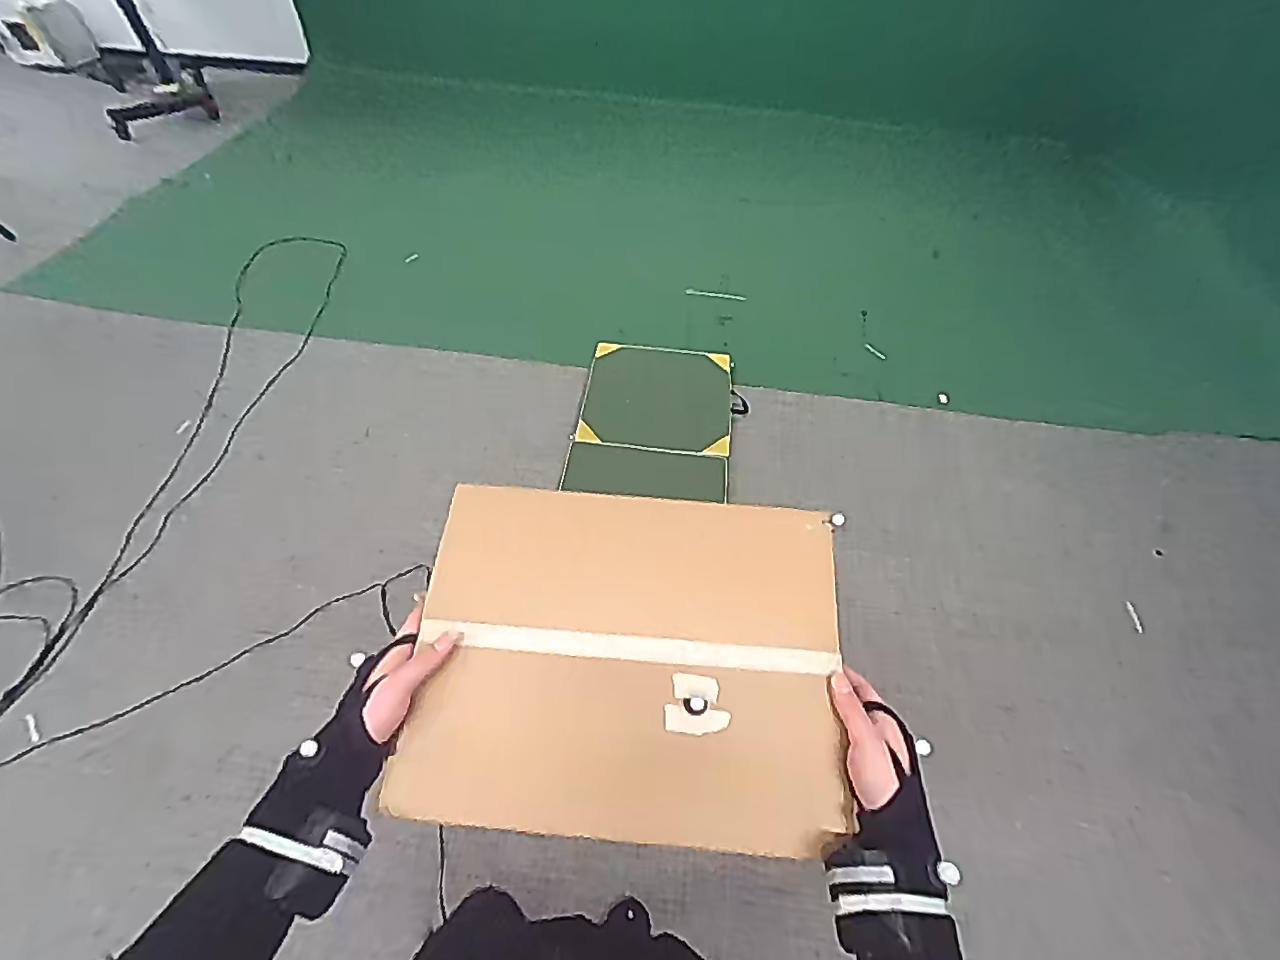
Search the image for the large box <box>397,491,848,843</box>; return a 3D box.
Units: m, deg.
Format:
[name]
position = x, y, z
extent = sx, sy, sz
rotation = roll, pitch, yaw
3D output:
[large box]
position = -0.011, 0.226, 0.665
extent = 0.408, 0.320, 0.320
rotation = 4, 65, 1
